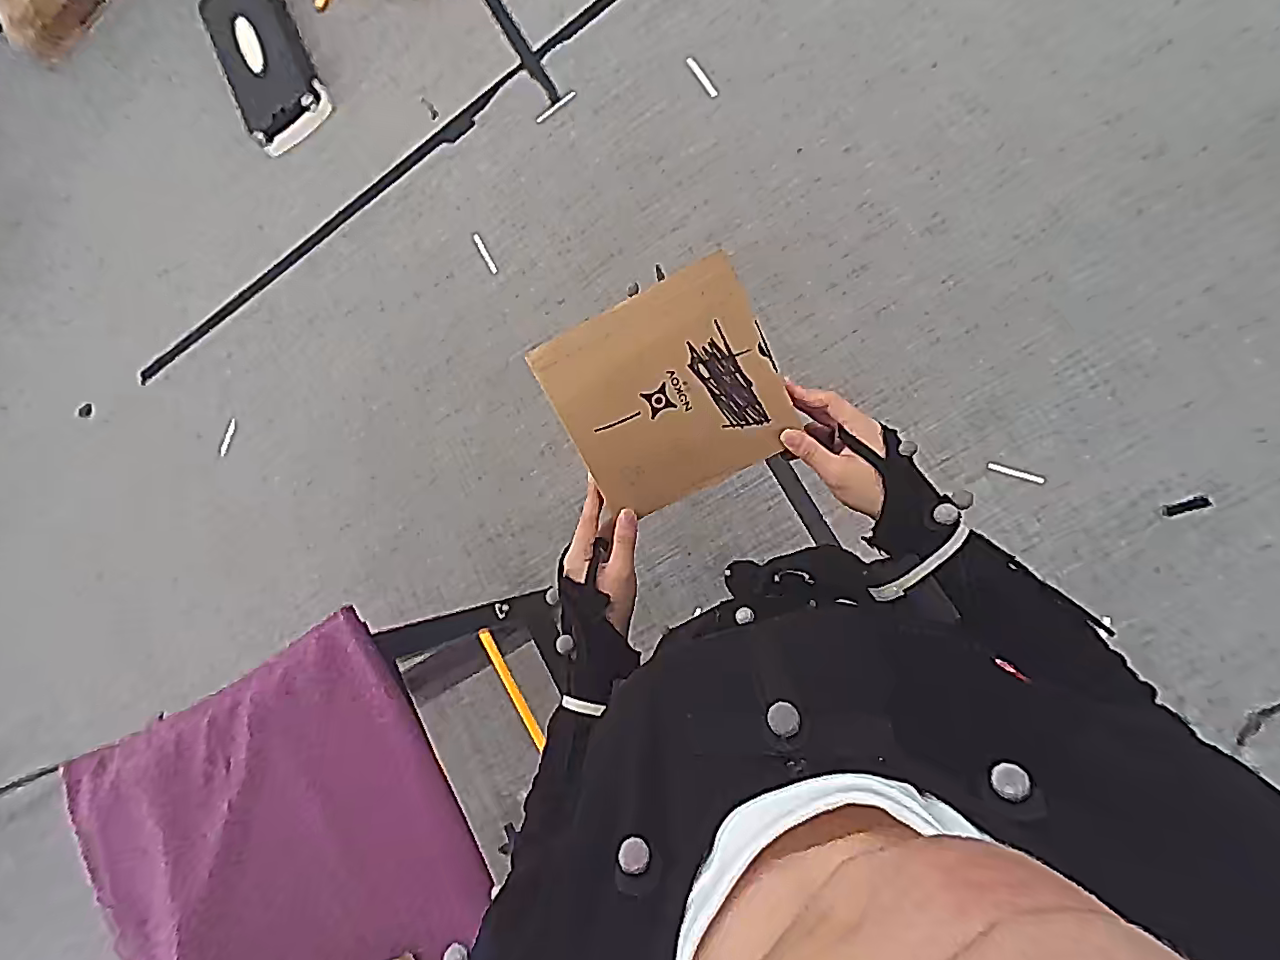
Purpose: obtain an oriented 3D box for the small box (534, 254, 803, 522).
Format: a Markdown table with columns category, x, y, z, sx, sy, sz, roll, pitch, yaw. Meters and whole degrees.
| category | x | y | z | sx | sy | sz | roll | pitch | yaw |
| --- | --- | --- | --- | --- | --- | --- | --- | --- | --- |
| small box | 0.025 | -0.090 | 0.517 | 0.179 | 0.176 | 0.168 | -26 | 103 | 8 |
